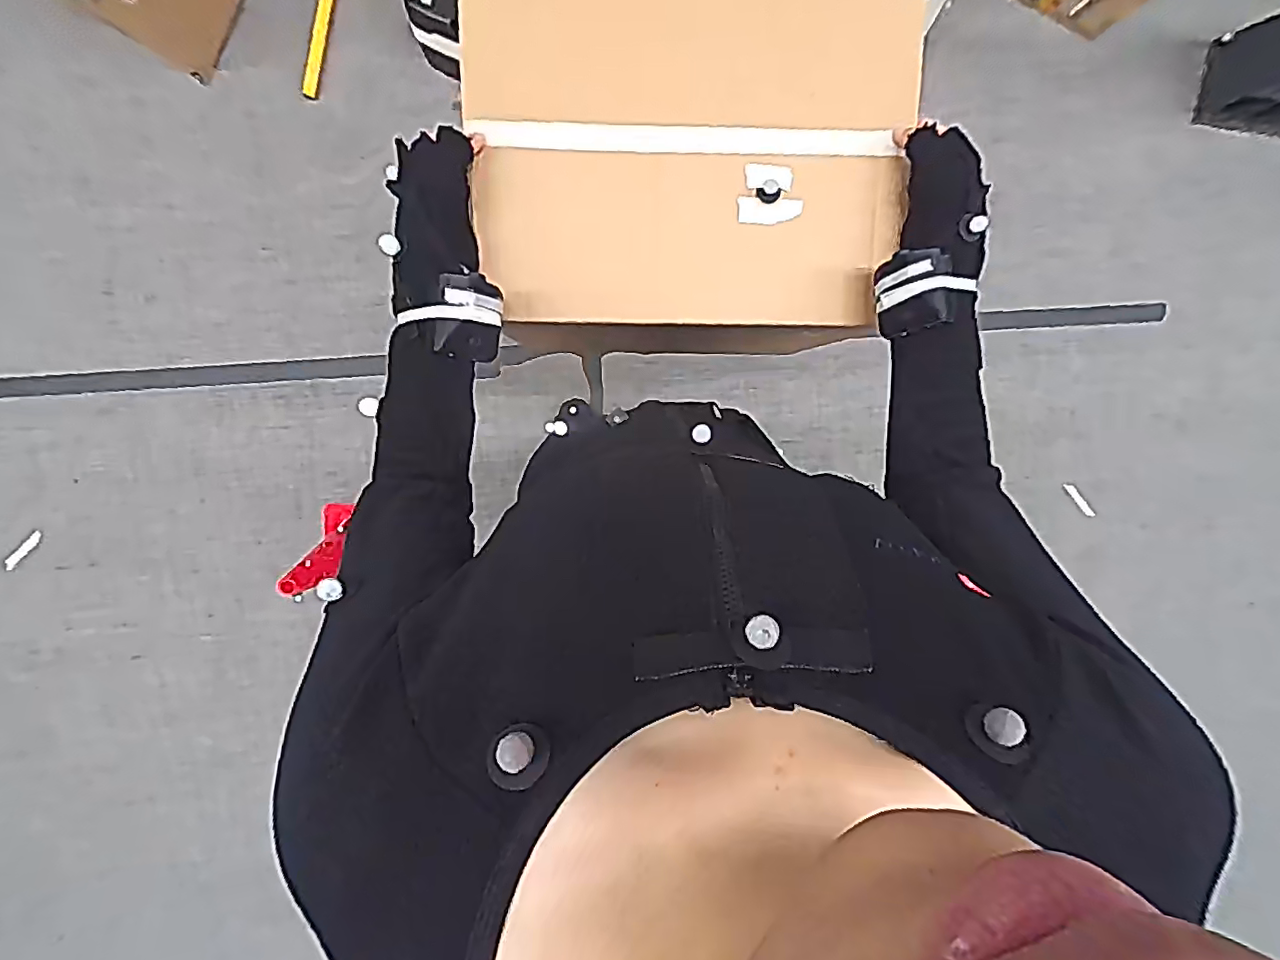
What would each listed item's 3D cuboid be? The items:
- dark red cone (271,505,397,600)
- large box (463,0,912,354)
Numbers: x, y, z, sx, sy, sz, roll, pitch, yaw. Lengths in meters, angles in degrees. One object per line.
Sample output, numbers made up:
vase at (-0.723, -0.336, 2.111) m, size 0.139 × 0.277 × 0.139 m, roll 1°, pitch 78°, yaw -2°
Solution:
dark red cone at (-0.730, 0.192, 1.260) m, size 0.201 × 0.394 × 0.202 m, roll 2°, pitch 99°, yaw -5°
large box at (0.036, -0.322, 0.634) m, size 0.408 × 0.320 × 0.320 m, roll 0°, pitch 98°, yaw -4°
